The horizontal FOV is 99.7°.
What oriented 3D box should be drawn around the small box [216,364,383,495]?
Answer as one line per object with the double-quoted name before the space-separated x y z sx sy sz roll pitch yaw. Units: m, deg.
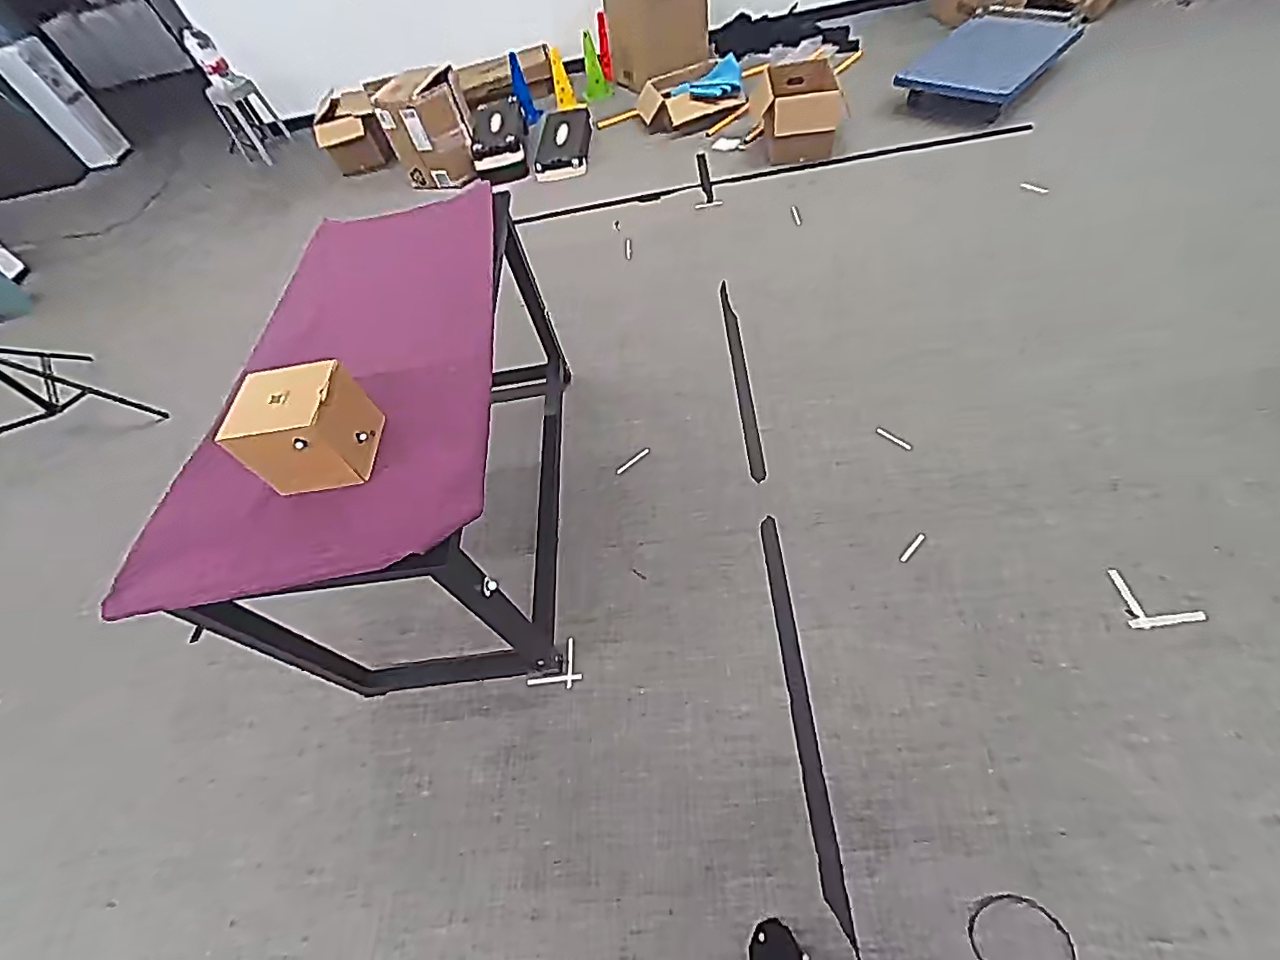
"small box" -0.618 -0.087 1.005 0.179 0.176 0.168 -9 53 4
